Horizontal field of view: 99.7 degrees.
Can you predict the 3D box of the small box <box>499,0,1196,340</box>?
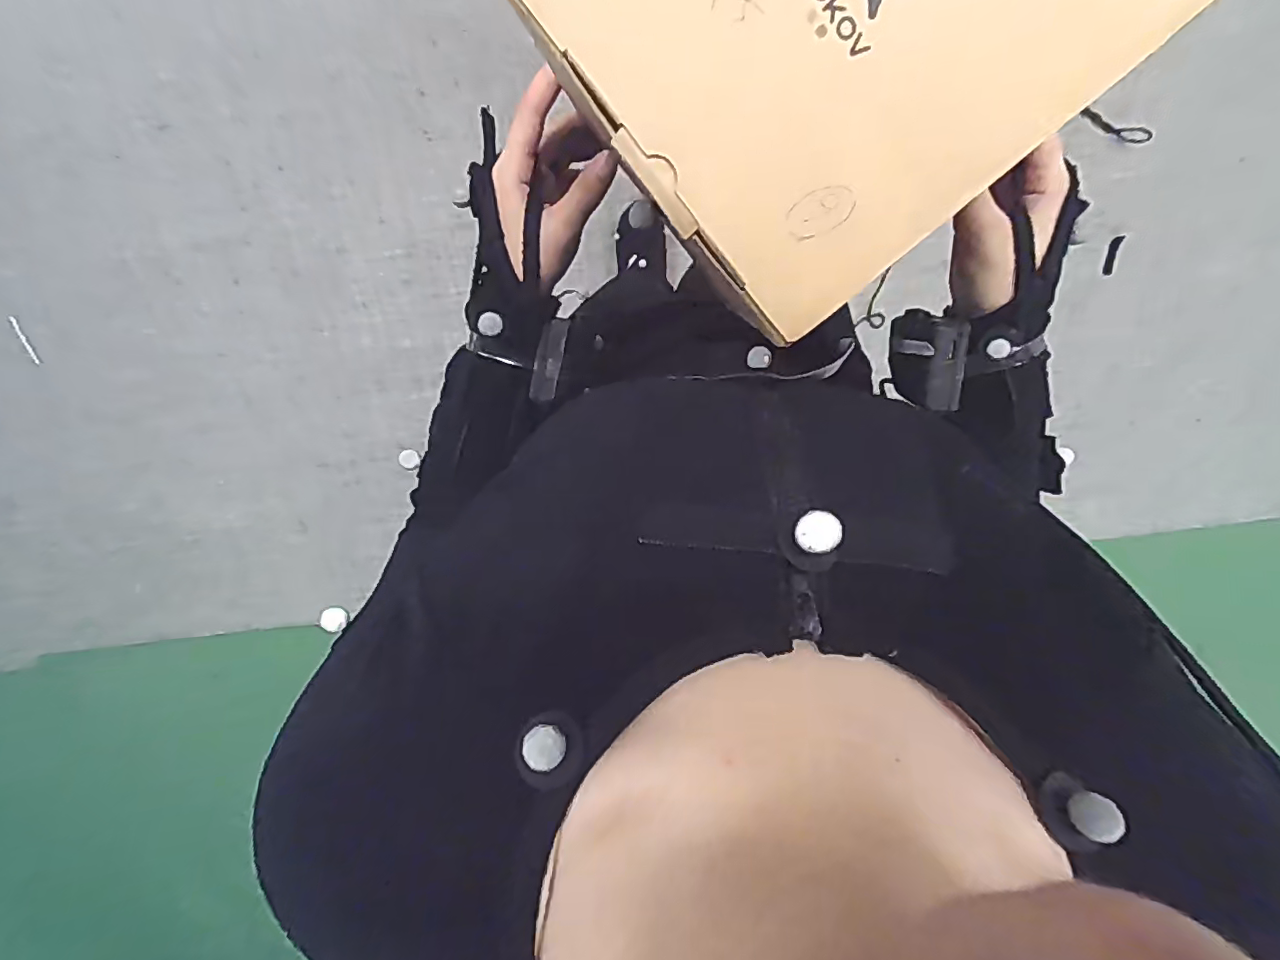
[{"bbox_3d":[0.071,-0.193,0.253,0.179,0.176,0.168,-39,105,16],"label":"small box"}]
